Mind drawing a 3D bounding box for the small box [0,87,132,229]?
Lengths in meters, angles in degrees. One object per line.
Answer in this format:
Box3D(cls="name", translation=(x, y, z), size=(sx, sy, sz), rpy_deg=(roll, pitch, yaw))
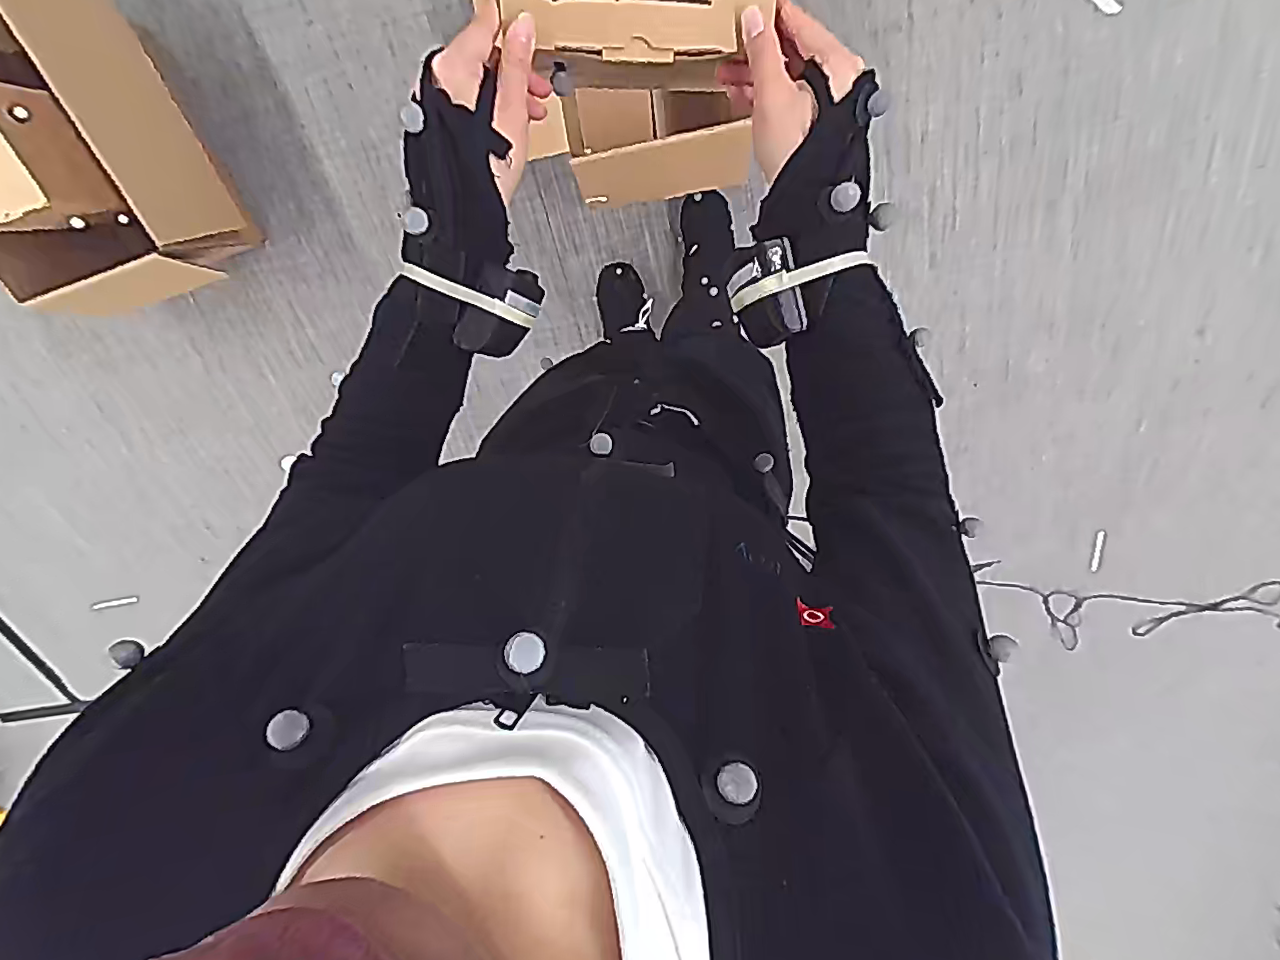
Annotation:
Box3D(cls="small box", translation=(-1.036, -0.530, 0.906), size=(0.168, 0.176, 0.179), rpy_deg=(-13, 116, 8))
